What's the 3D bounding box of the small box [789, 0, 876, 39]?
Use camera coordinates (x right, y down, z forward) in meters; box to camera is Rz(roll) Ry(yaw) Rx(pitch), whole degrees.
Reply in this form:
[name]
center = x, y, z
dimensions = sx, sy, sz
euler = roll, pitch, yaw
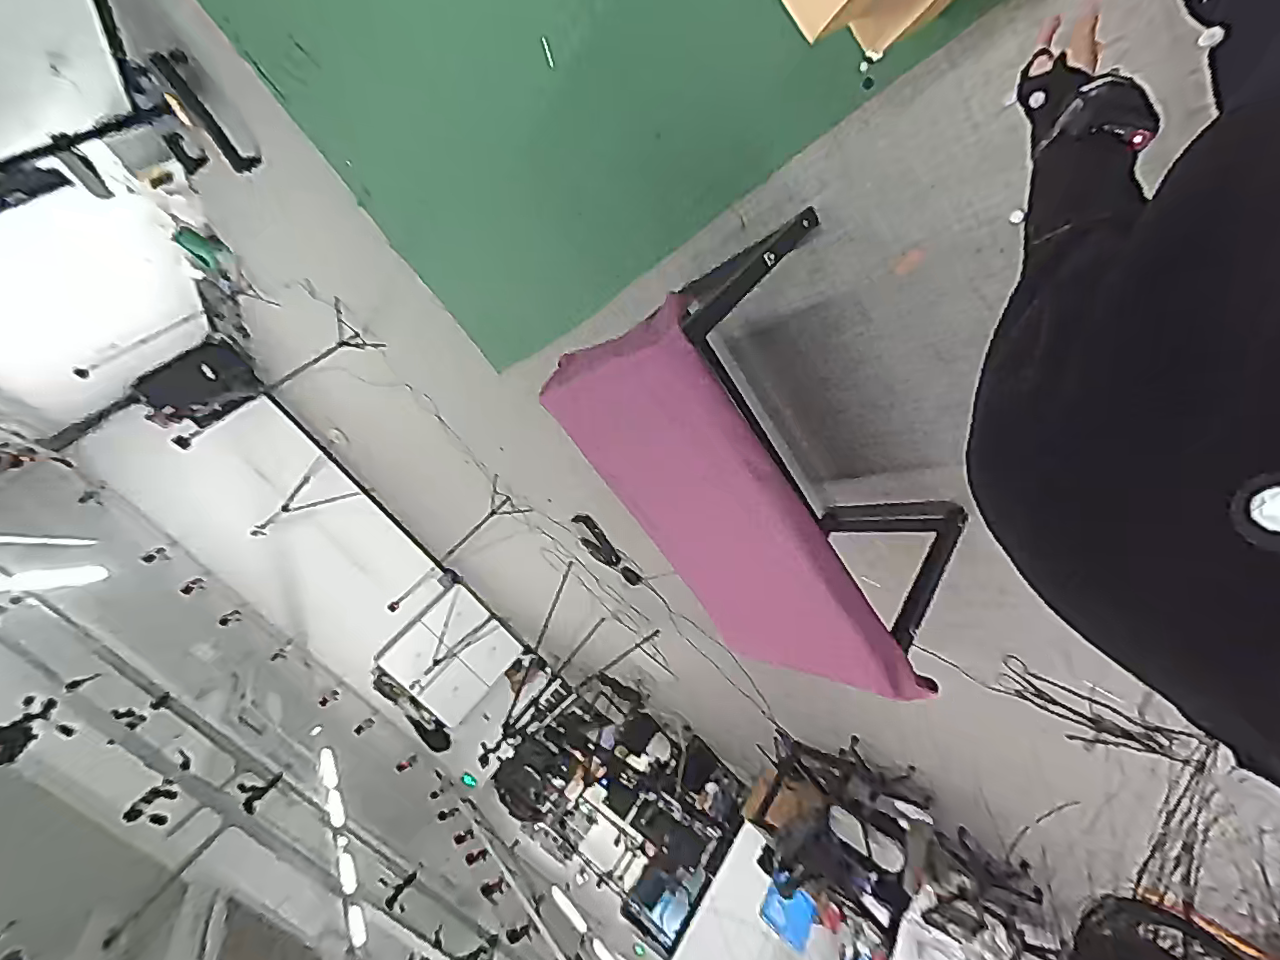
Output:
[small box]
center = 0.309, -0.814, 0.798
dimensions = 0.179, 0.176, 0.168
euler = 49, 152, -11
